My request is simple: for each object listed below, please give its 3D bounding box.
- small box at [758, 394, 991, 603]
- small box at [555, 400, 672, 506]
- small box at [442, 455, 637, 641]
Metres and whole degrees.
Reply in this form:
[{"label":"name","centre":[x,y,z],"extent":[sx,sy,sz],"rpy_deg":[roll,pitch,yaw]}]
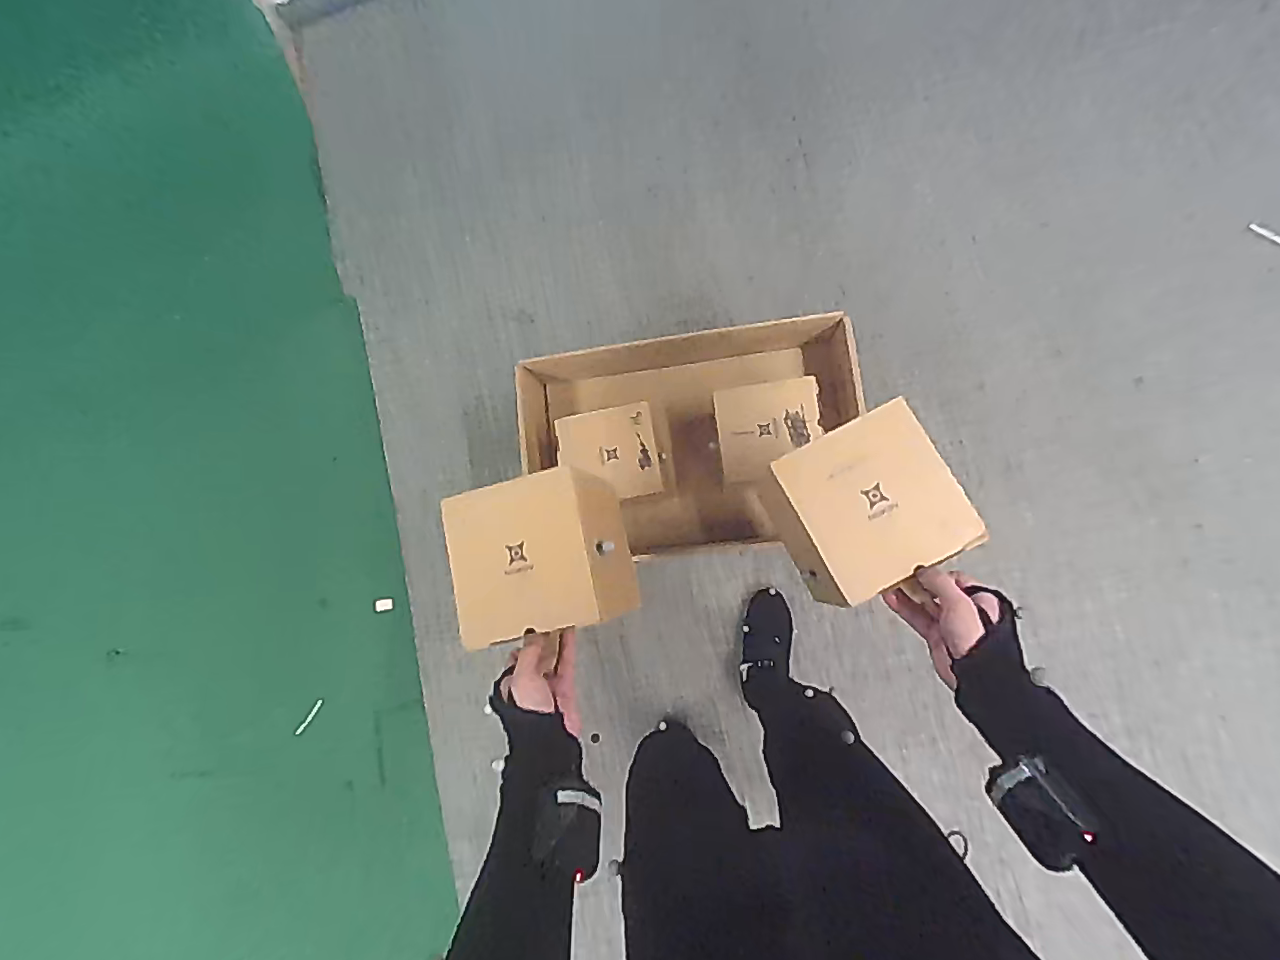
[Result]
[{"label":"small box","centre":[0.257,0.029,0.643],"extent":[0.168,0.176,0.179],"rpy_deg":[-25,78,0]},{"label":"small box","centre":[-0.043,-0.038,1.015],"extent":[0.179,0.176,0.168],"rpy_deg":[-9,83,8]},{"label":"small box","centre":[-0.114,0.085,0.664],"extent":[0.168,0.176,0.179],"rpy_deg":[-15,80,12]}]
